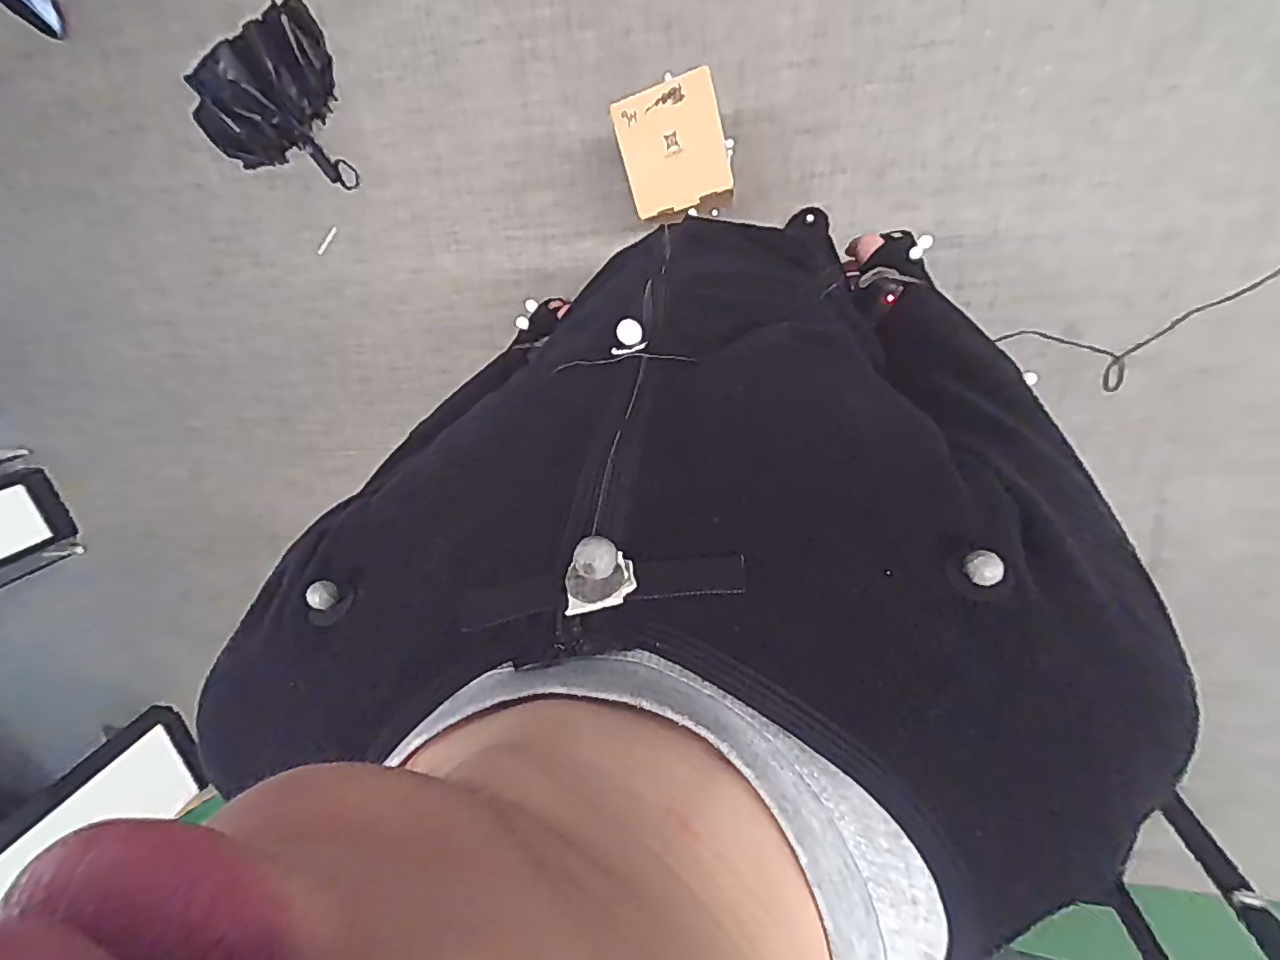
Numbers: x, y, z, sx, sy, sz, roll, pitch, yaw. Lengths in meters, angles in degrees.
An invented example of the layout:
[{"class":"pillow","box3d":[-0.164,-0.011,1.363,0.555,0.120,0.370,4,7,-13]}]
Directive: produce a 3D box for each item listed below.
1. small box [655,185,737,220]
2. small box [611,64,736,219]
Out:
[{"class":"small box","box3d":[0.094,-0.635,1.079,0.168,0.176,0.179,-12,112,16]},{"class":"small box","box3d":[0.068,-0.569,0.933,0.168,0.176,0.179,-12,113,16]}]
